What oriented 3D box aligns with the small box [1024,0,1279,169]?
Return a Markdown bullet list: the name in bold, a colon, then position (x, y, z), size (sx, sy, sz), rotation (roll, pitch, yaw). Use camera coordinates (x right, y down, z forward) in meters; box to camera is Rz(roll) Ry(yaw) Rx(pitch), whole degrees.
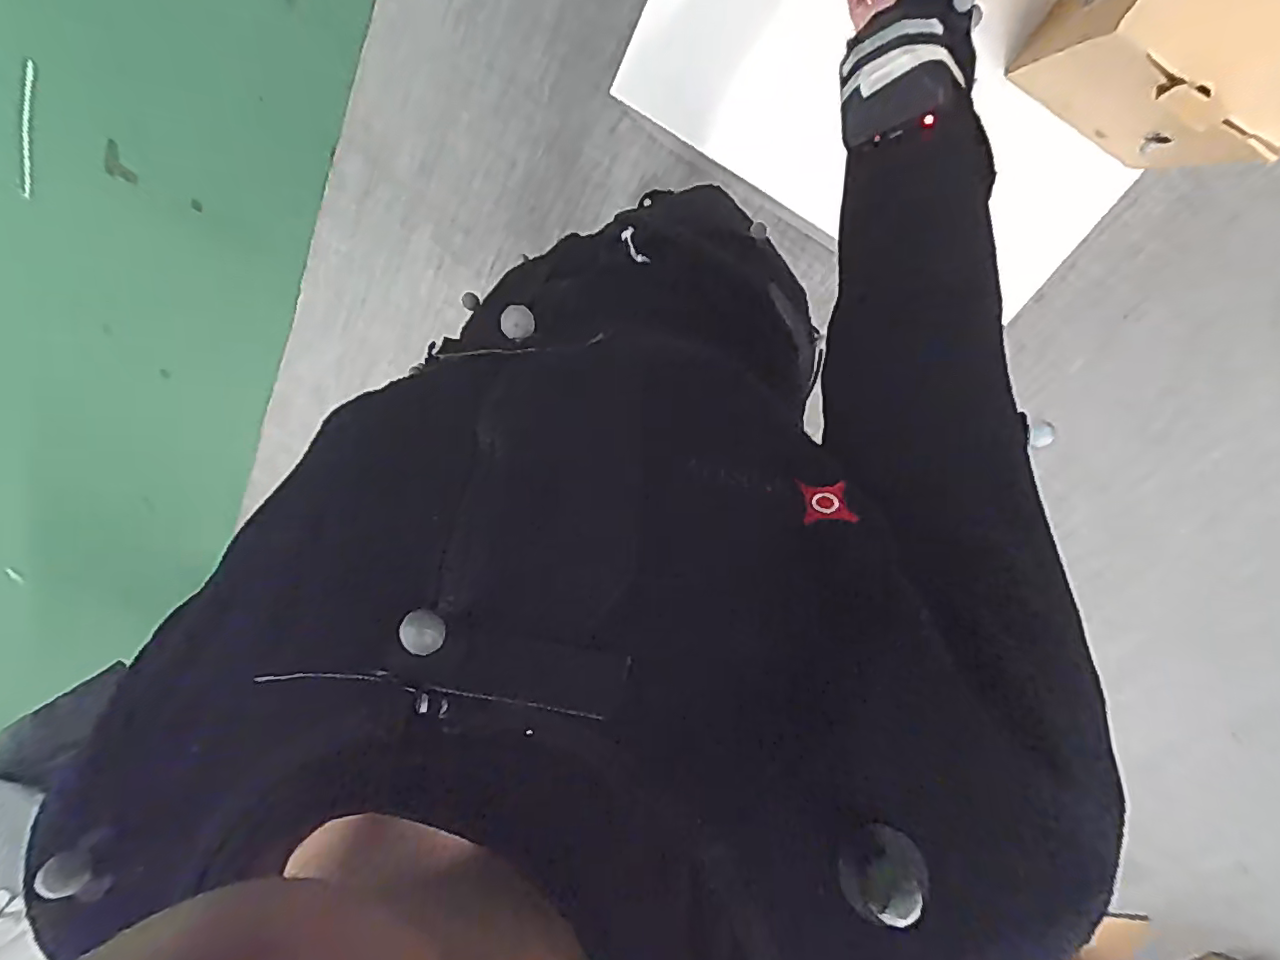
- **small box**: position (0.447, -0.368, 0.419), size (0.168, 0.176, 0.179), rotation (28, 117, -8)
